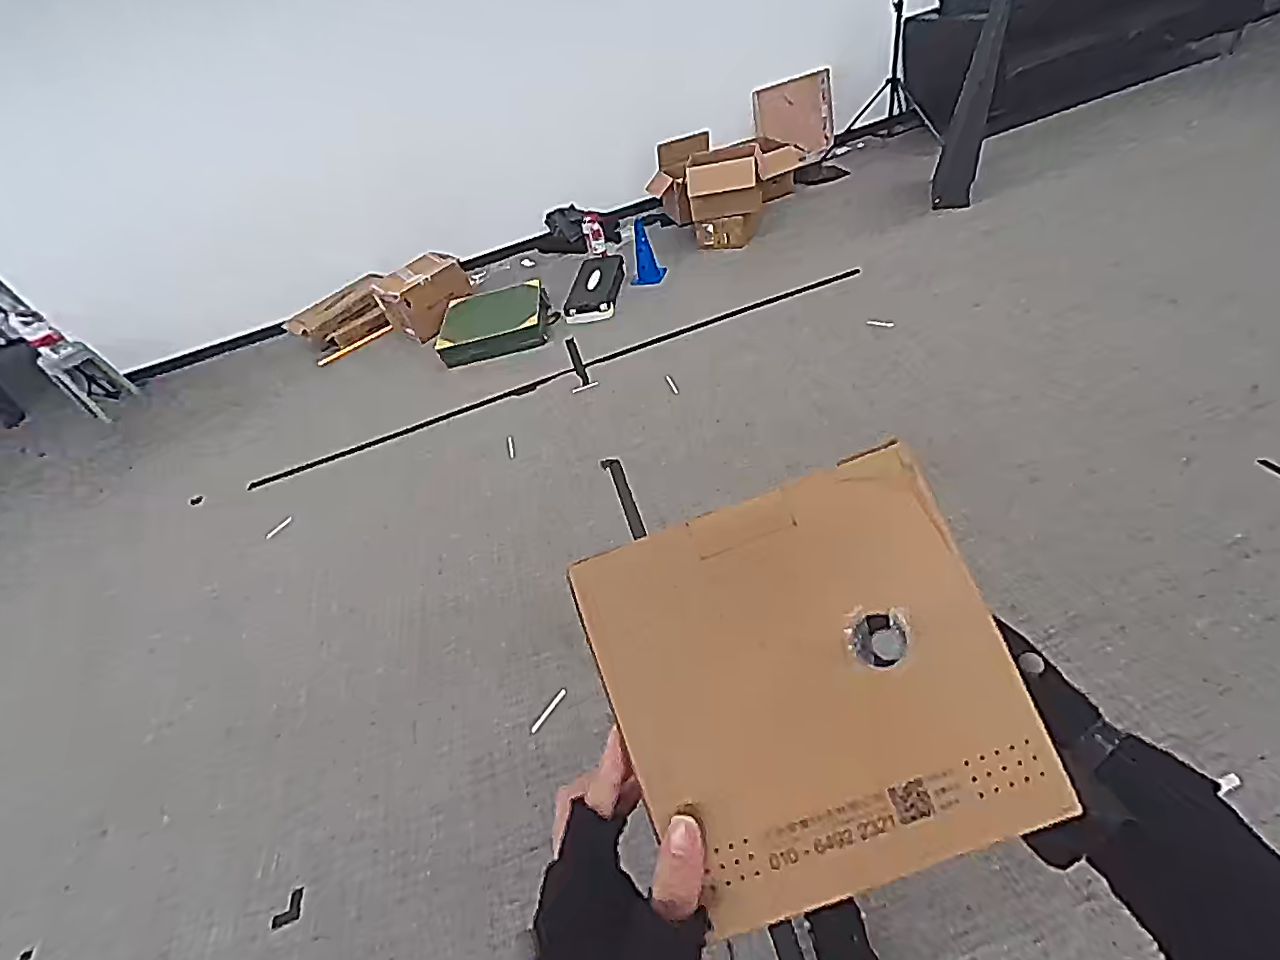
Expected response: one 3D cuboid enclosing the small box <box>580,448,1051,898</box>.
[{"bbox_3d":[0.083,0.101,0.318,0.168,0.179,0.176,-21,81,2],"label":"small box"}]
